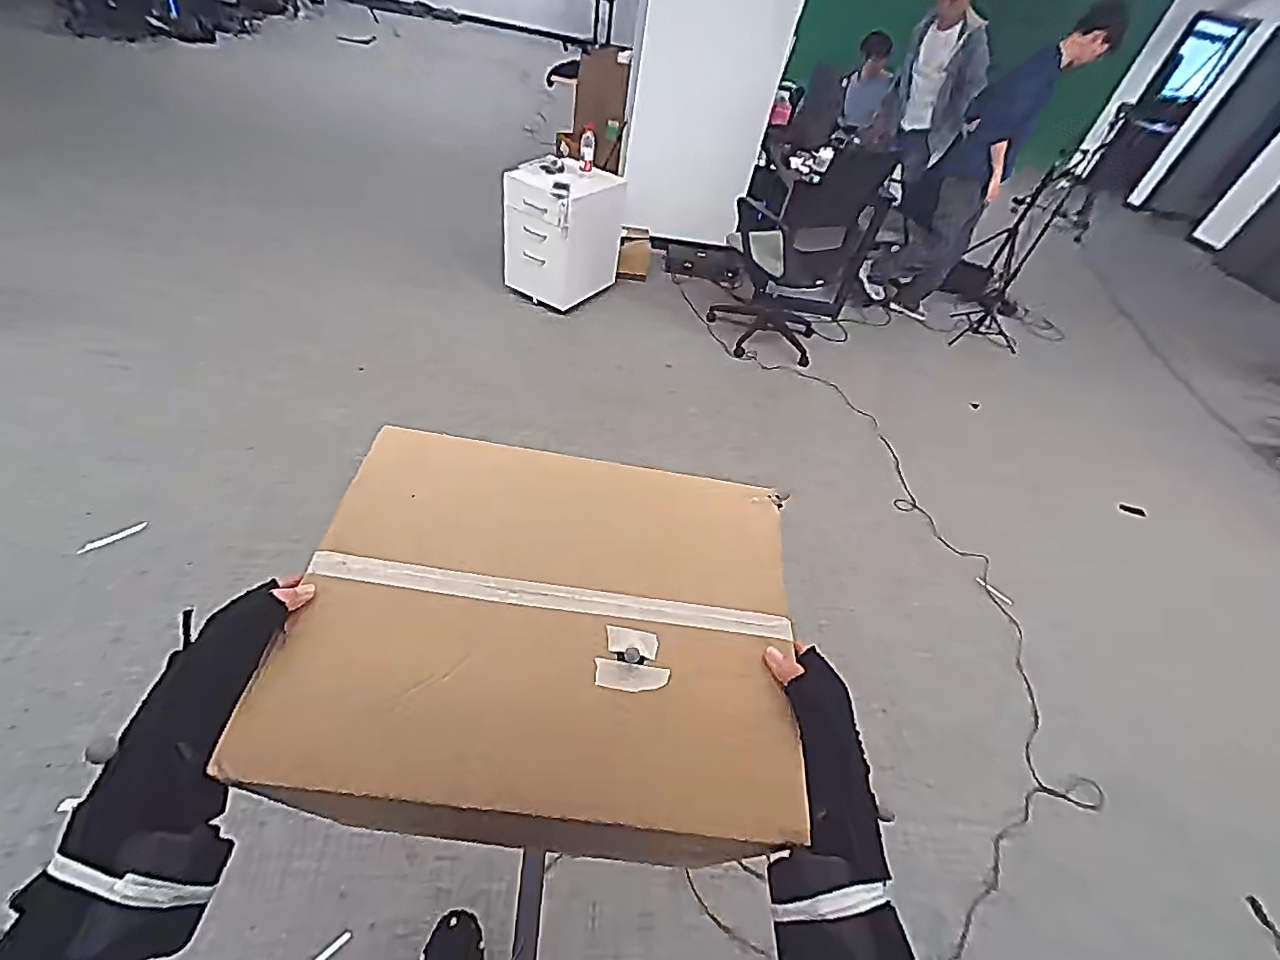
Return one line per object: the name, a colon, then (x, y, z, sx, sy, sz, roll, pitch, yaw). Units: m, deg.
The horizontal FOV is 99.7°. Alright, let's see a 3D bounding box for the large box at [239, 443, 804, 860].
large box: (-0.090, 0.199, 0.583, 0.408, 0.320, 0.320, 9, 53, -5)
